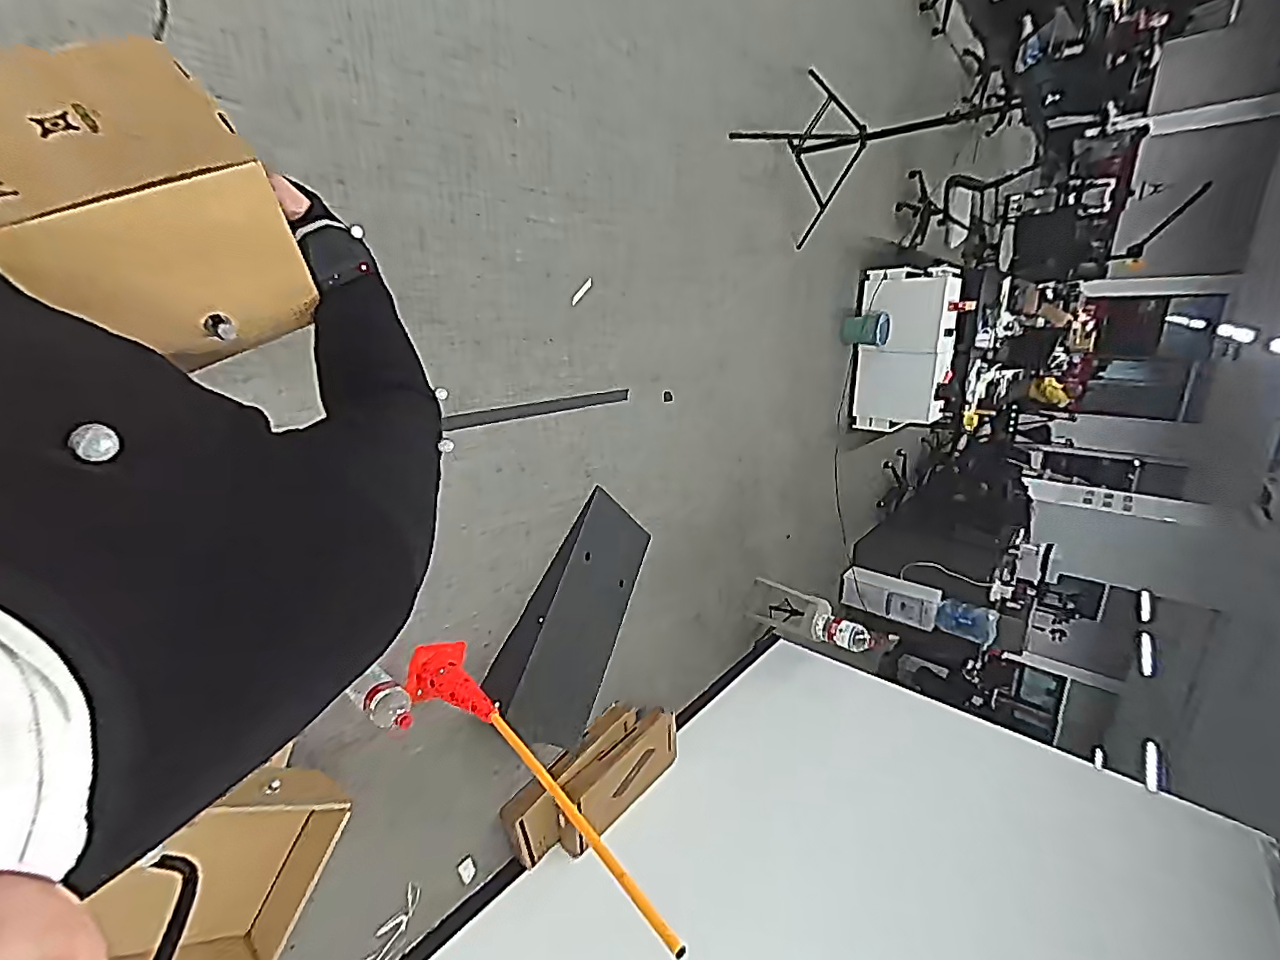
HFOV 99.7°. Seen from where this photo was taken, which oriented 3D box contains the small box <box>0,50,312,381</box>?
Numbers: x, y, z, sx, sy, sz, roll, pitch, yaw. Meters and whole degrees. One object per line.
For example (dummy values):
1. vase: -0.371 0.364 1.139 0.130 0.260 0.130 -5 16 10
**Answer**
1. small box: -0.420 -0.221 0.470 0.179 0.168 0.176 -36 166 -26
